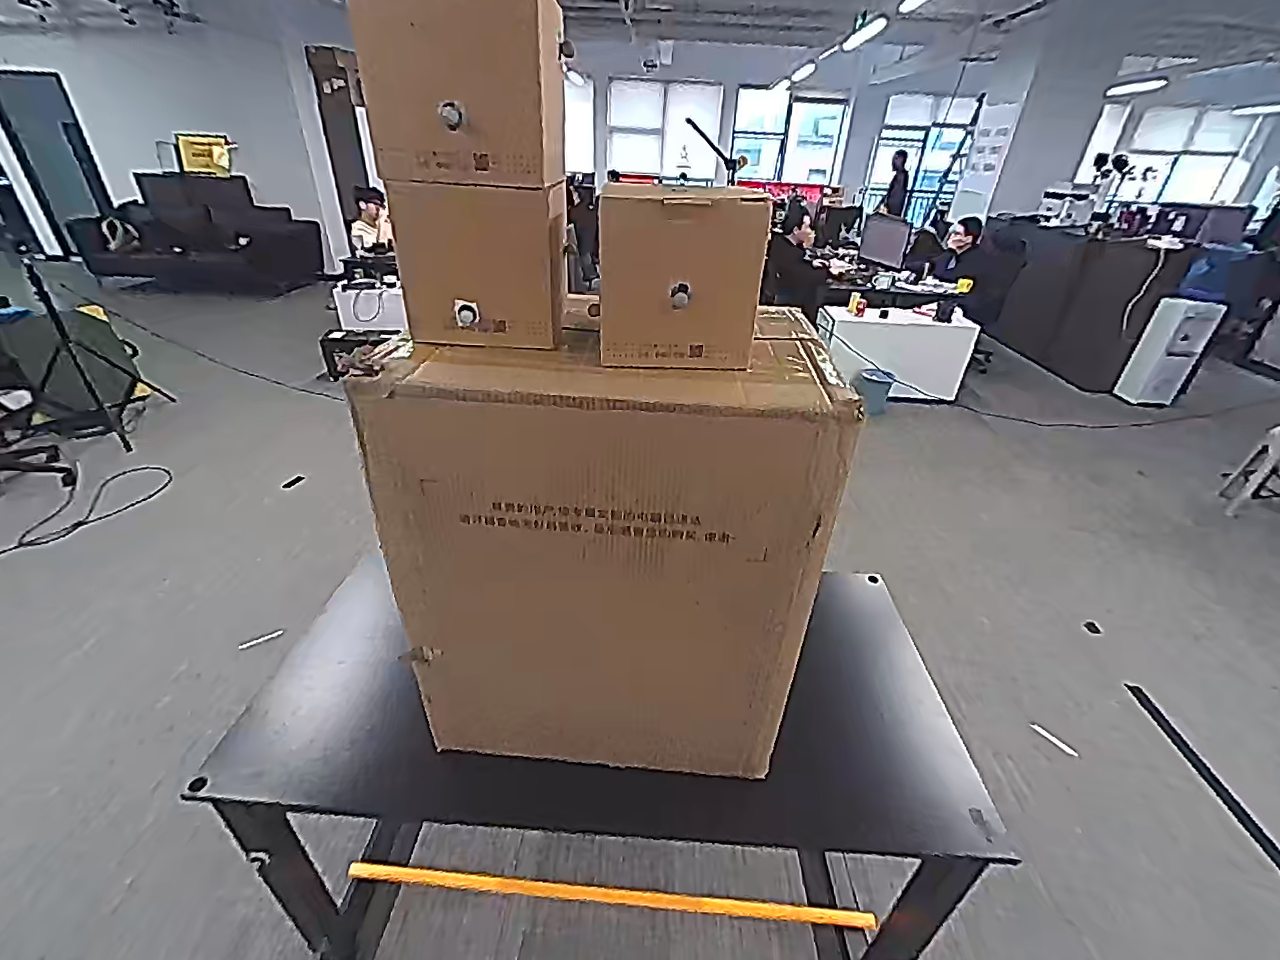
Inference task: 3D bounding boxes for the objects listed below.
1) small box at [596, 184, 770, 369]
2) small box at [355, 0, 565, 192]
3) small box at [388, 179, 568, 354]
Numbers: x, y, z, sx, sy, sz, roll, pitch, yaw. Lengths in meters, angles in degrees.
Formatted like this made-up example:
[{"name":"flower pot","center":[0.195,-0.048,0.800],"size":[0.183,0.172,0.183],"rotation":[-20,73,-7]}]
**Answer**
[{"name":"small box","center":[0.039,-0.232,0.613],"size":[0.168,0.176,0.179],"rotation":[0,33,-2]},{"name":"small box","center":[-0.170,-0.402,0.558],"size":[0.168,0.176,0.179],"rotation":[2,32,-1]},{"name":"small box","center":[-0.175,-0.262,0.646],"size":[0.168,0.176,0.179],"rotation":[1,33,-3]}]
